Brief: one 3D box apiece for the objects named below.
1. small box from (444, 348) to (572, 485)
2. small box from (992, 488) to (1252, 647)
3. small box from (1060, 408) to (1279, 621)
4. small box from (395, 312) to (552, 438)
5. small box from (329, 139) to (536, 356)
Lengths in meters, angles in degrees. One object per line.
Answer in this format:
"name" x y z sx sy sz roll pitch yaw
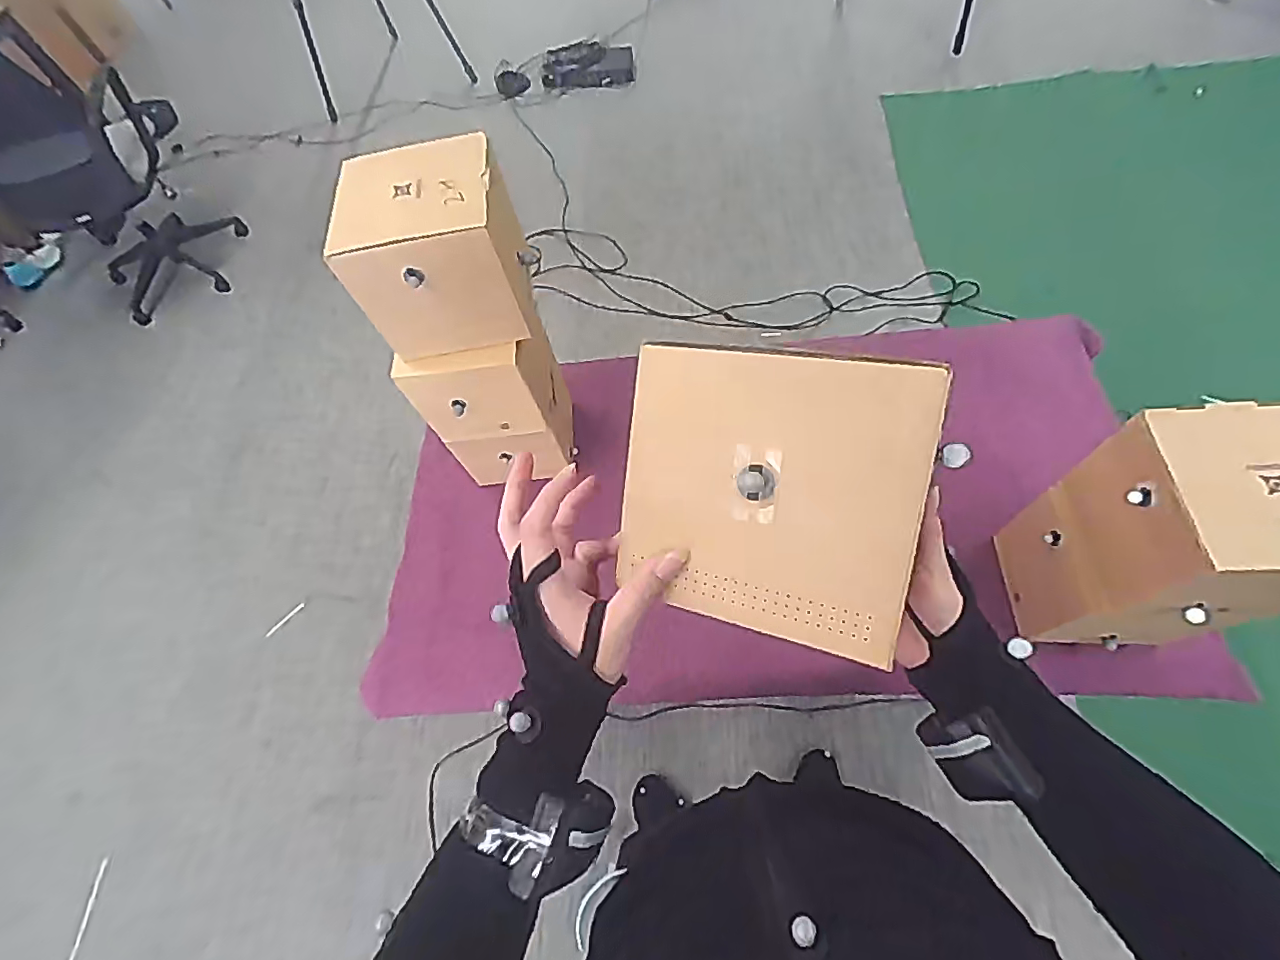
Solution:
"small box" -0.217 -0.105 0.941 0.179 0.176 0.168 -7 62 4
"small box" 0.615 0.122 0.720 0.179 0.176 0.168 0 62 7
"small box" 0.599 0.042 0.578 0.168 0.176 0.179 -1 63 9
"small box" -0.229 -0.174 0.795 0.168 0.176 0.179 -6 62 4
"small box" -0.237 -0.272 0.661 0.179 0.176 0.168 -9 62 2
